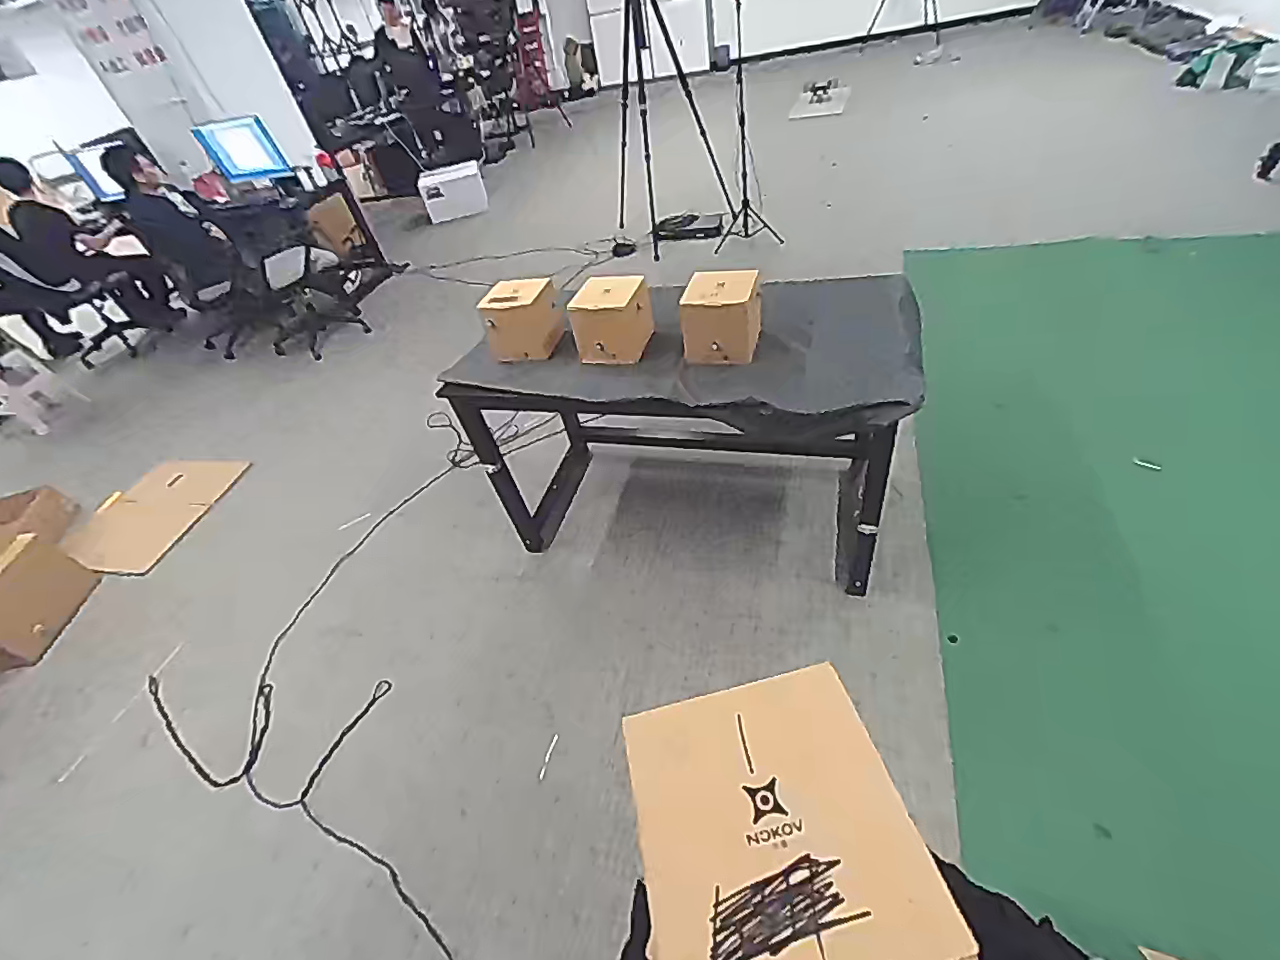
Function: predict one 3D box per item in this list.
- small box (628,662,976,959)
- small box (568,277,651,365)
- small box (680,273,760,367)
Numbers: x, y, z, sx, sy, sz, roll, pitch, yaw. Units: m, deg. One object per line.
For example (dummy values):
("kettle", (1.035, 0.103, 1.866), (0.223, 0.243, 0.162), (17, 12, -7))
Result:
("small box", (0.097, 0.269, 0.392), (0.168, 0.176, 0.179), (-14, 40, -2))
("small box", (-0.074, -0.433, 1.469), (0.168, 0.176, 0.179), (6, 47, 18))
("small box", (0.209, -0.409, 1.375), (0.168, 0.176, 0.179), (6, 46, 19))
